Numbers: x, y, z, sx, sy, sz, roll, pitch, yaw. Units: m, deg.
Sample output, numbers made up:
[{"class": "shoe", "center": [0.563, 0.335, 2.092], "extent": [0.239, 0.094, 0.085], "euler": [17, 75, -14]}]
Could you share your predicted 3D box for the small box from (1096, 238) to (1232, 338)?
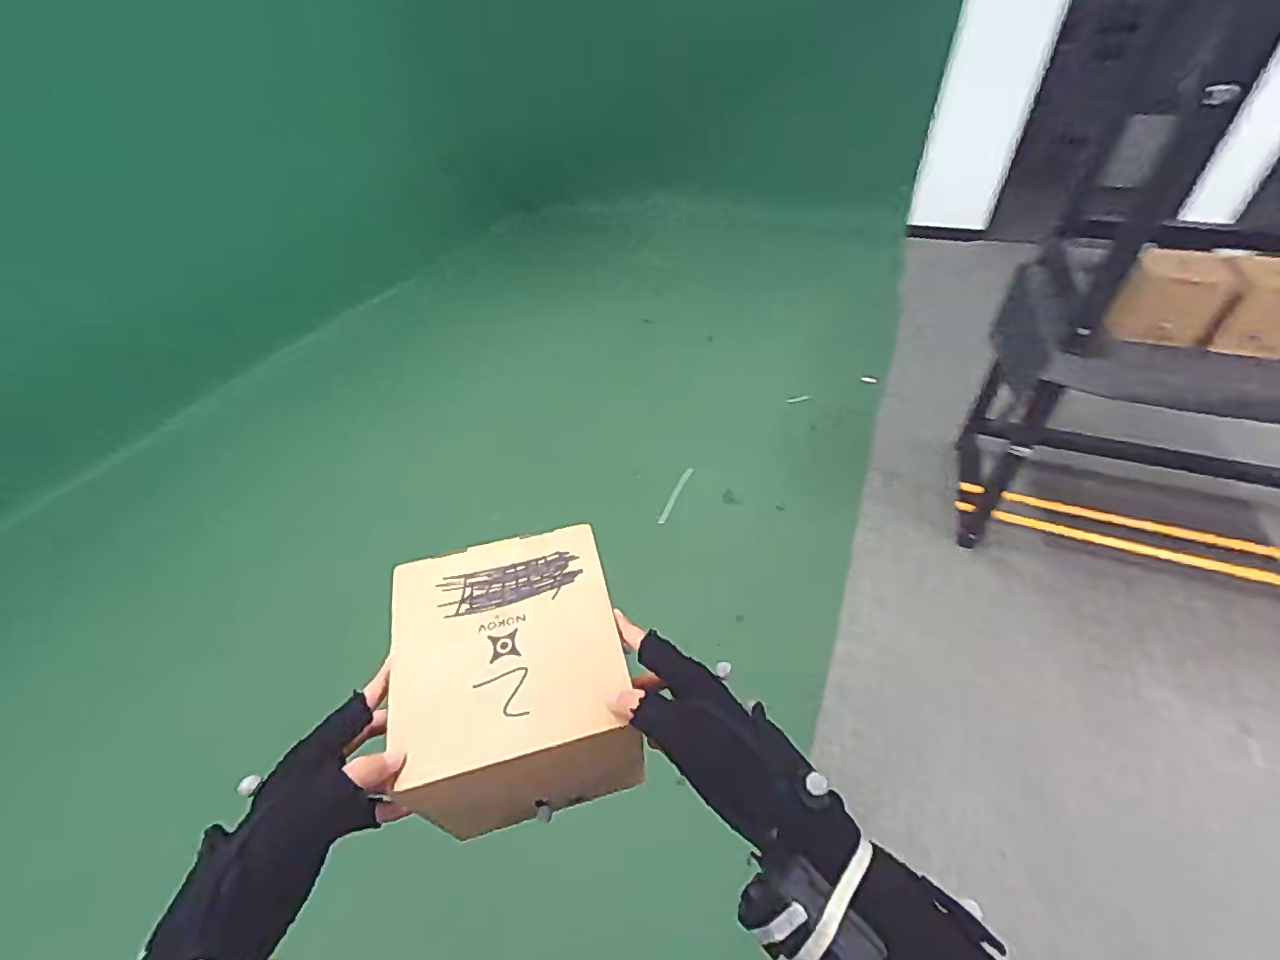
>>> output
[{"class": "small box", "center": [1.270, -0.473, 1.331], "extent": [0.168, 0.176, 0.179], "euler": [12, 47, 17]}]
